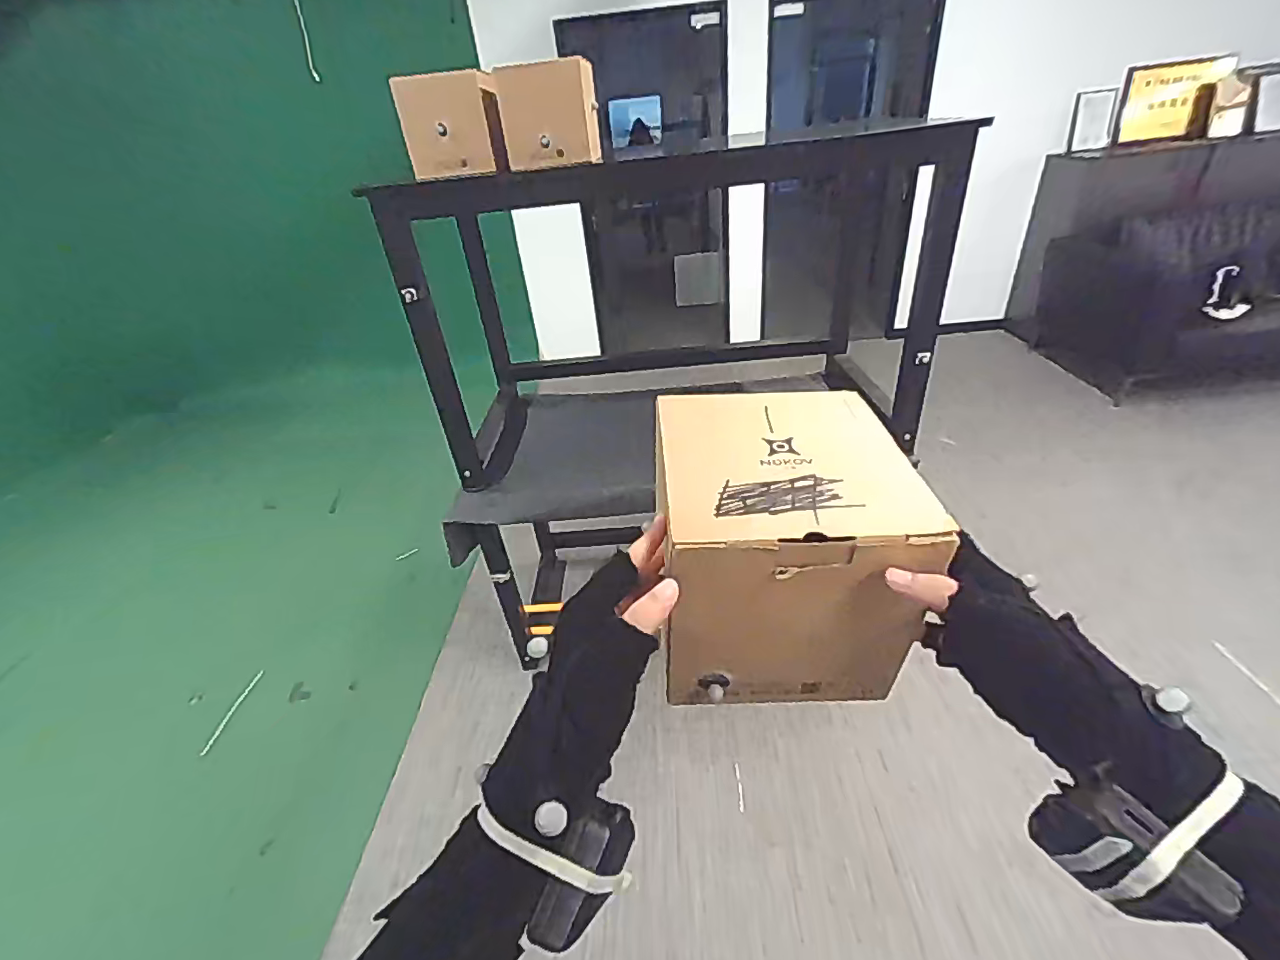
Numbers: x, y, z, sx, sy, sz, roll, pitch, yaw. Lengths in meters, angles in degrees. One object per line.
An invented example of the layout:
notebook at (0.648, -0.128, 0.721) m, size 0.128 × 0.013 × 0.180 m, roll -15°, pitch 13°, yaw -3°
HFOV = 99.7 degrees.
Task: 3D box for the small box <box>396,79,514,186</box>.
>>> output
small box at (-0.370, -0.714, 1.121) m, size 0.168 × 0.176 × 0.179 m, roll -3°, pitch 32°, yaw 2°

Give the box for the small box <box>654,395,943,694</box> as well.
small box at (0.097, 0.049, 0.424) m, size 0.168 × 0.176 × 0.179 m, roll -1°, pitch 35°, yaw 0°
